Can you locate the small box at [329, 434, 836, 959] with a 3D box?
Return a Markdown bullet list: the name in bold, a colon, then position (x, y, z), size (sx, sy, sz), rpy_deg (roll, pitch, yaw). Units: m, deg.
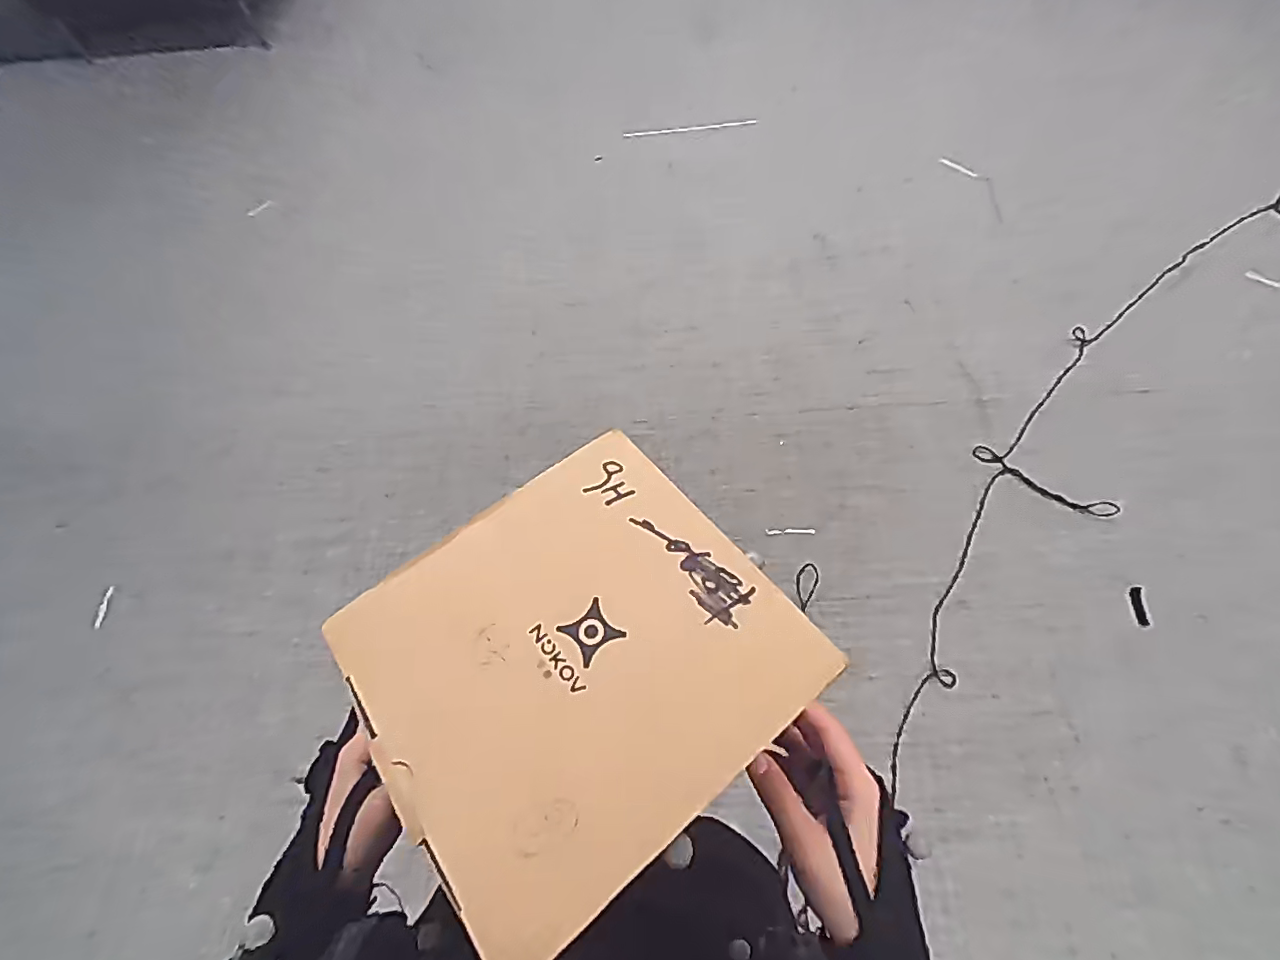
- **small box**: position (-0.025, 0.115, 0.308), size (0.179, 0.176, 0.168), rpy_deg (-35, 63, -17)
